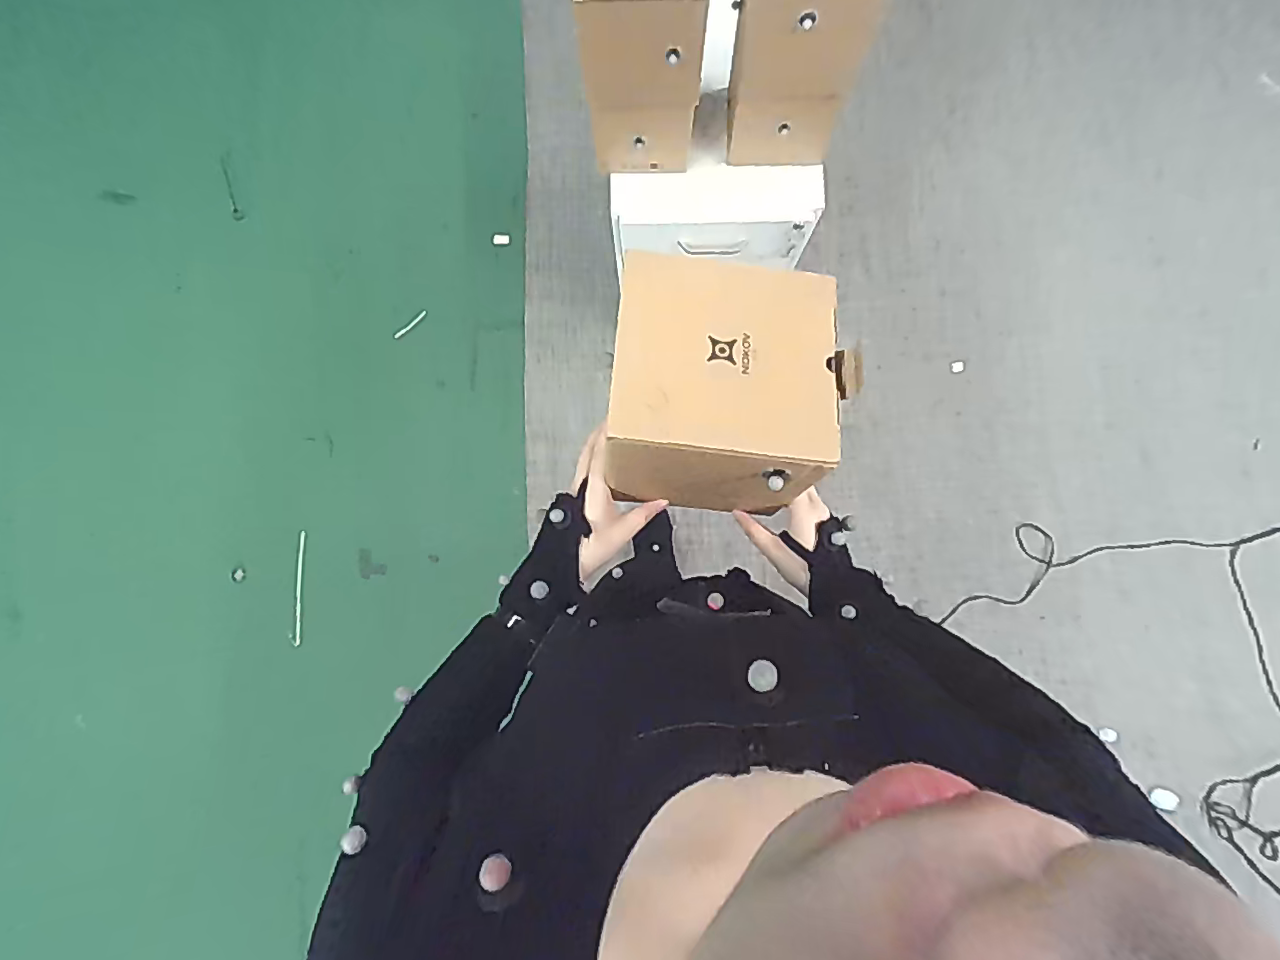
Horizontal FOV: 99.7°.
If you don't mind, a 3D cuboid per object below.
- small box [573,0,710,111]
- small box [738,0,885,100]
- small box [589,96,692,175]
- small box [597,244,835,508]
[{"bbox_3d":[0.001,-0.664,0.771,0.179,0.176,0.168,-1,81,1],"label":"small box"},{"bbox_3d":[0.236,-0.677,0.767,0.179,0.176,0.168,1,83,2],"label":"small box"},{"bbox_3d":[0.002,-0.658,0.934,0.168,0.176,0.179,0,83,-1],"label":"small box"},{"bbox_3d":[0.055,-0.079,0.487,0.179,0.176,0.168,6,72,-4],"label":"small box"}]
